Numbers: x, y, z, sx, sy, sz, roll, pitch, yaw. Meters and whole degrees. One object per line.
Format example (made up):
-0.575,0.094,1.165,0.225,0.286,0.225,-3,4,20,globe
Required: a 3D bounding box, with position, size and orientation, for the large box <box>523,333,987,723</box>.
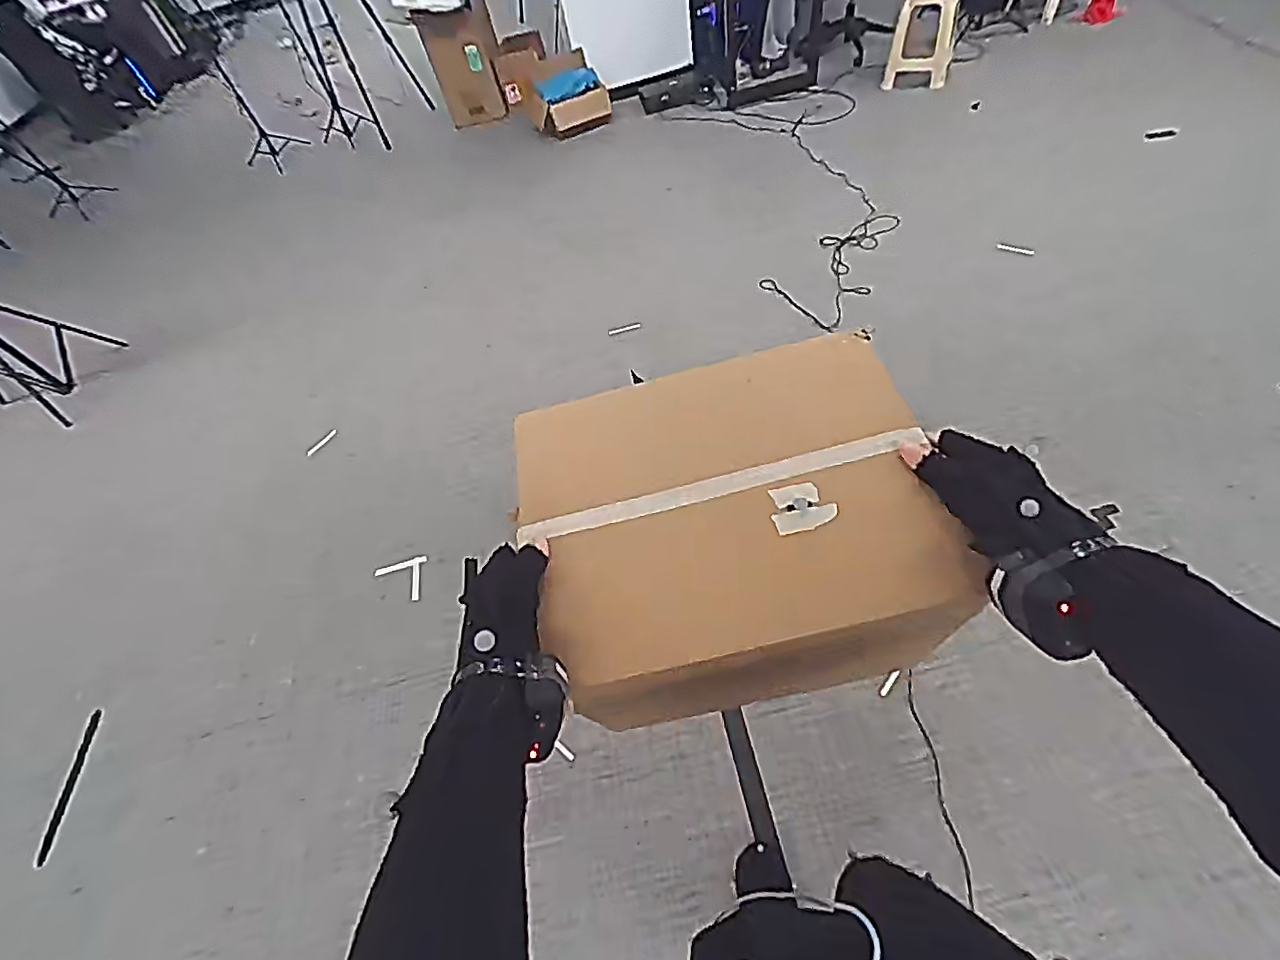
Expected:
0.105,0.080,0.675,0.408,0.320,0.320,-14,59,2,large box
